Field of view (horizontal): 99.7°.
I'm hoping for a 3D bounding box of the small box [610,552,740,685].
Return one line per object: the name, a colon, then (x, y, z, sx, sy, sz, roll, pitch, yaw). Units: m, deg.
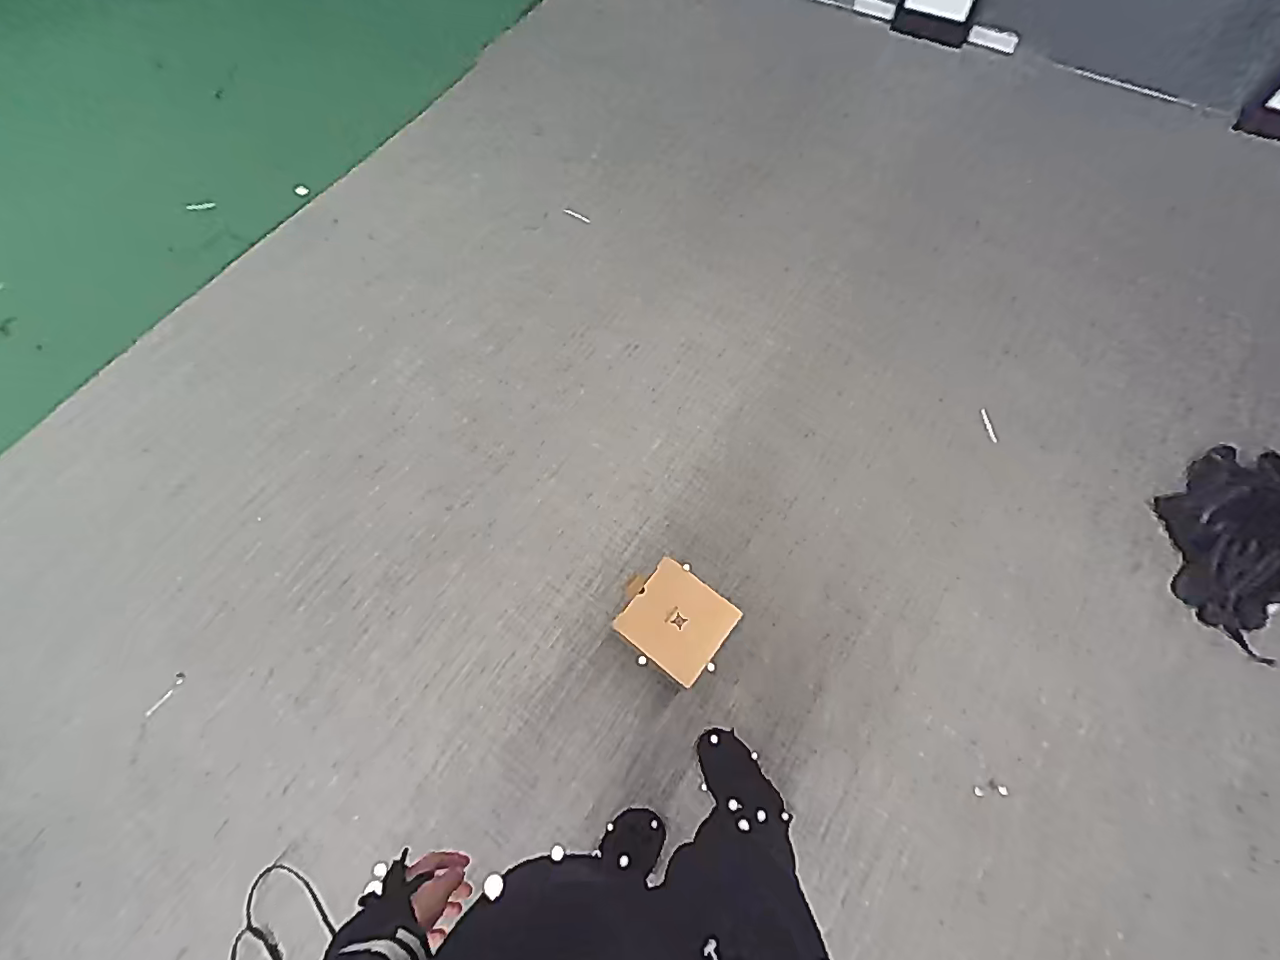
small box: (0.067, 0.269, 1.034, 0.179, 0.176, 0.168, 36, 74, 17)
